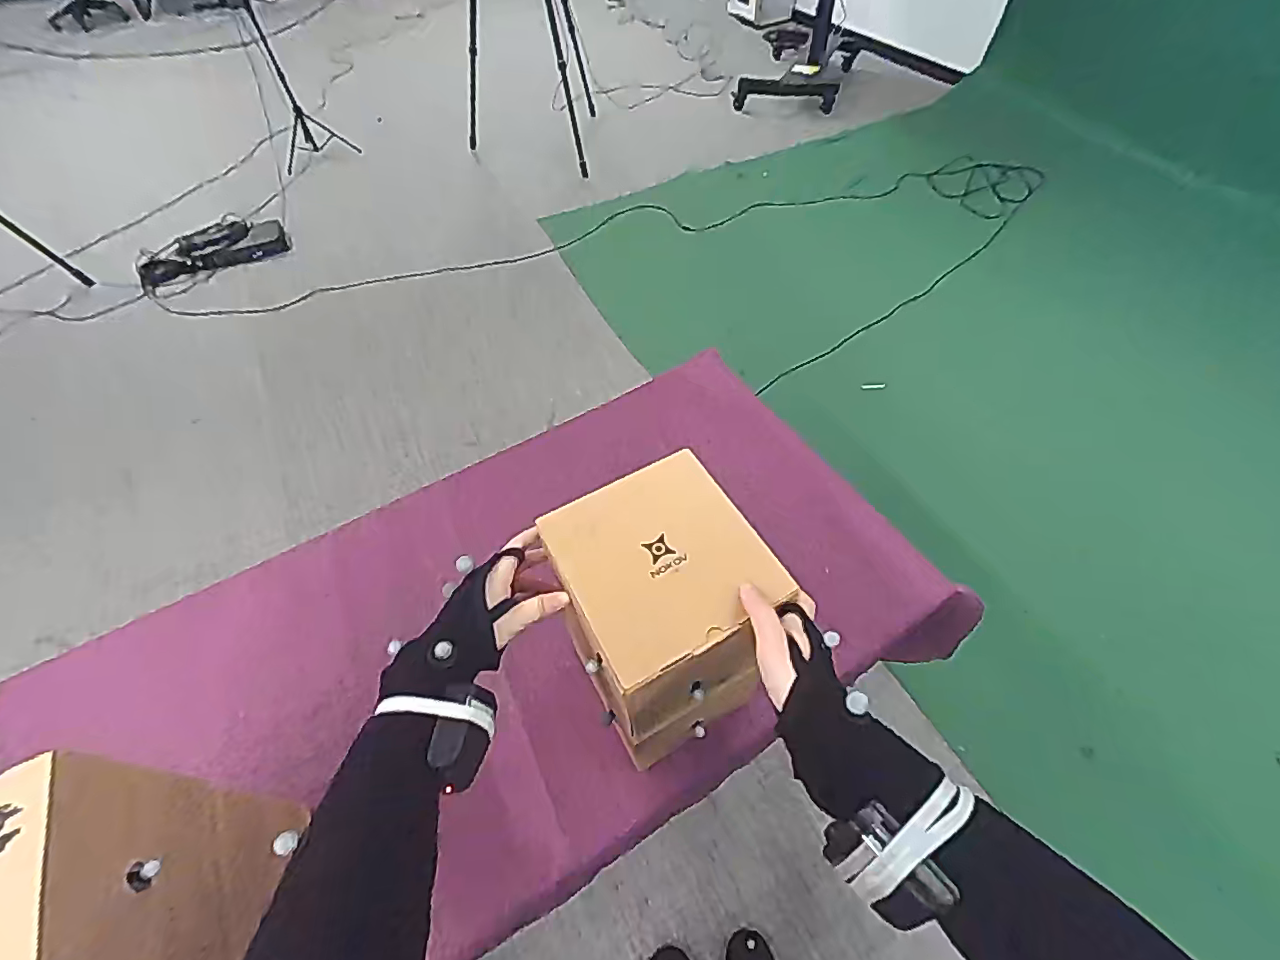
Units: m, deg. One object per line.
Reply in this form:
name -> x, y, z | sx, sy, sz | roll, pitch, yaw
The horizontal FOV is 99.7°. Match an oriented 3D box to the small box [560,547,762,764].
small box -> 0.023, 0.219, 0.657 | 0.168, 0.176, 0.179 | -25, 57, -15
